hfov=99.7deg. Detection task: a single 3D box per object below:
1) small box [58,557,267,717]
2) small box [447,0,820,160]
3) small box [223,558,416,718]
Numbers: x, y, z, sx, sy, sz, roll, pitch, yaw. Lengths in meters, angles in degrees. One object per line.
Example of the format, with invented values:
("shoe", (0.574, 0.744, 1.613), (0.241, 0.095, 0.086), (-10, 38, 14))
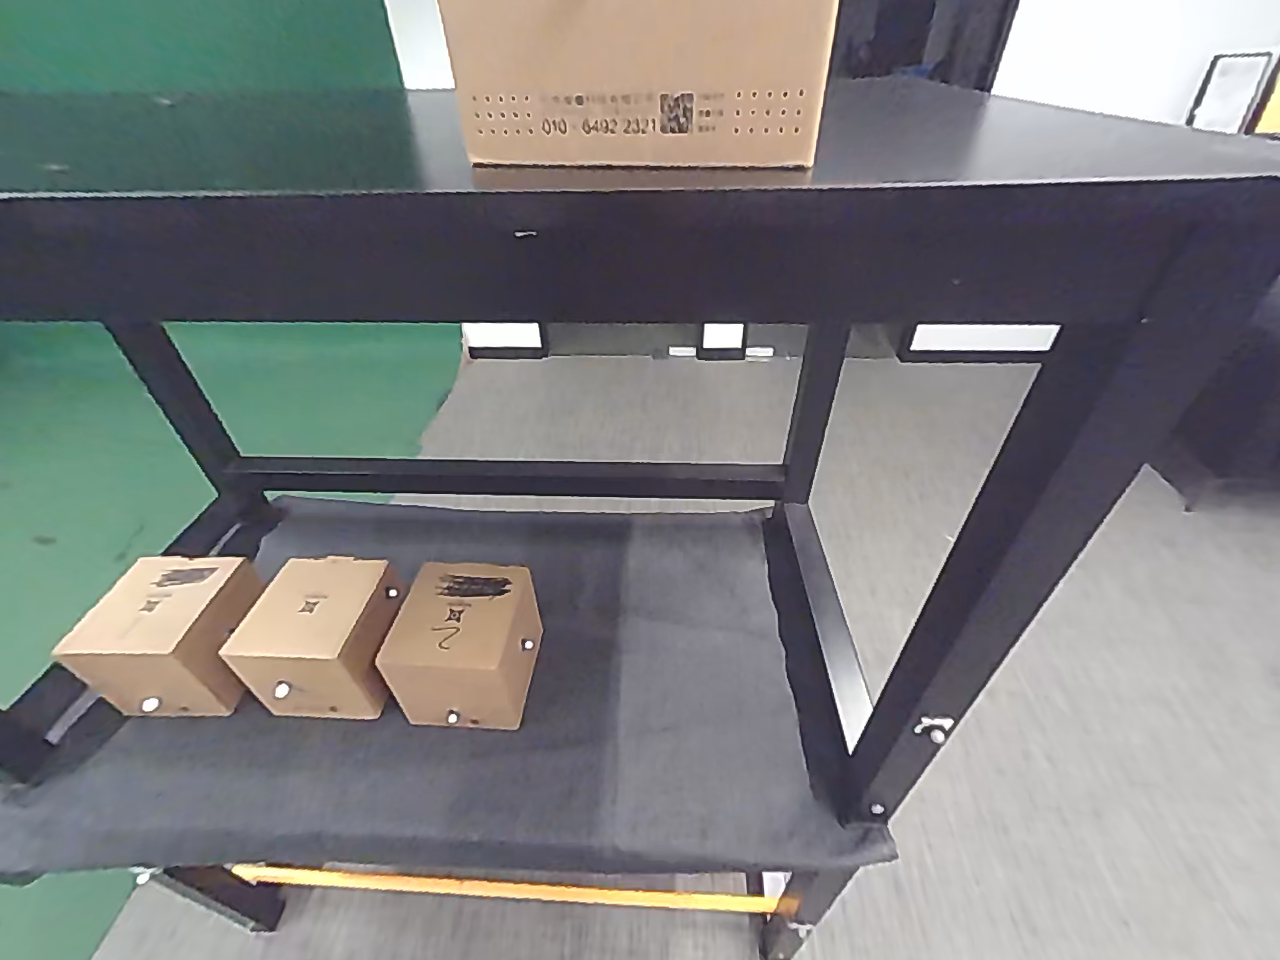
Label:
("small box", (-0.694, 0.238, 0.832), (0.168, 0.176, 0.179), (-1, 39, 1))
("small box", (0.008, -0.268, 0.271), (0.168, 0.176, 0.179), (7, 39, 10))
("small box", (-0.467, 0.241, 0.826), (0.168, 0.176, 0.179), (2, 38, 3))
